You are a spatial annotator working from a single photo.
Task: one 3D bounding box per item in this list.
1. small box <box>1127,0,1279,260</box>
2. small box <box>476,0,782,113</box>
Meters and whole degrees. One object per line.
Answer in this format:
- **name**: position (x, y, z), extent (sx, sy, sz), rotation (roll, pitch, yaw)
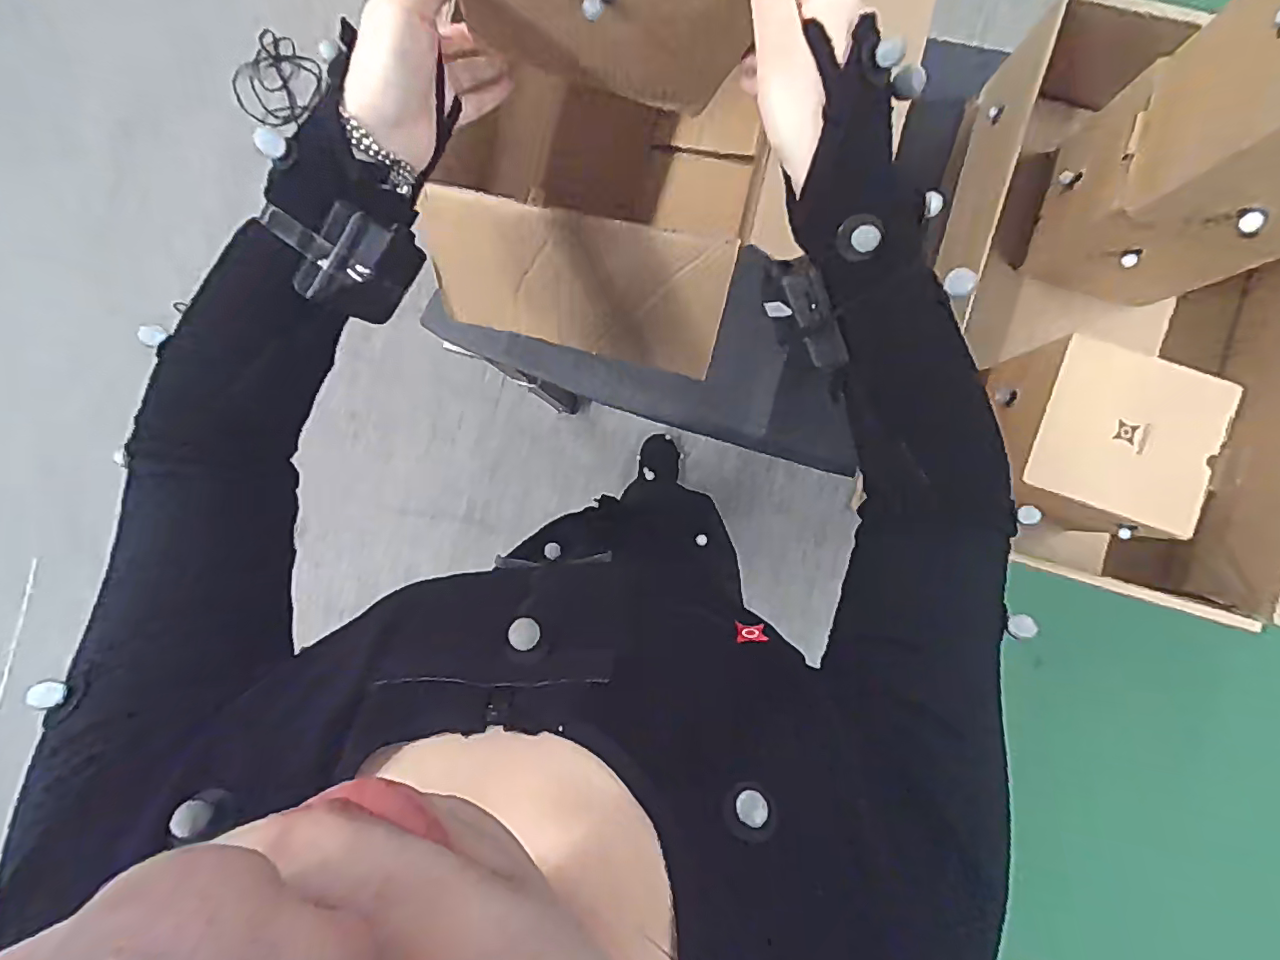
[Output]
- **small box**: position (0.584, -0.322, 0.465), extent (0.168, 0.176, 0.179), rotation (17, 92, 3)
- **small box**: position (-0.004, -0.356, 0.322), extent (0.179, 0.176, 0.168), rotation (10, 104, -13)
